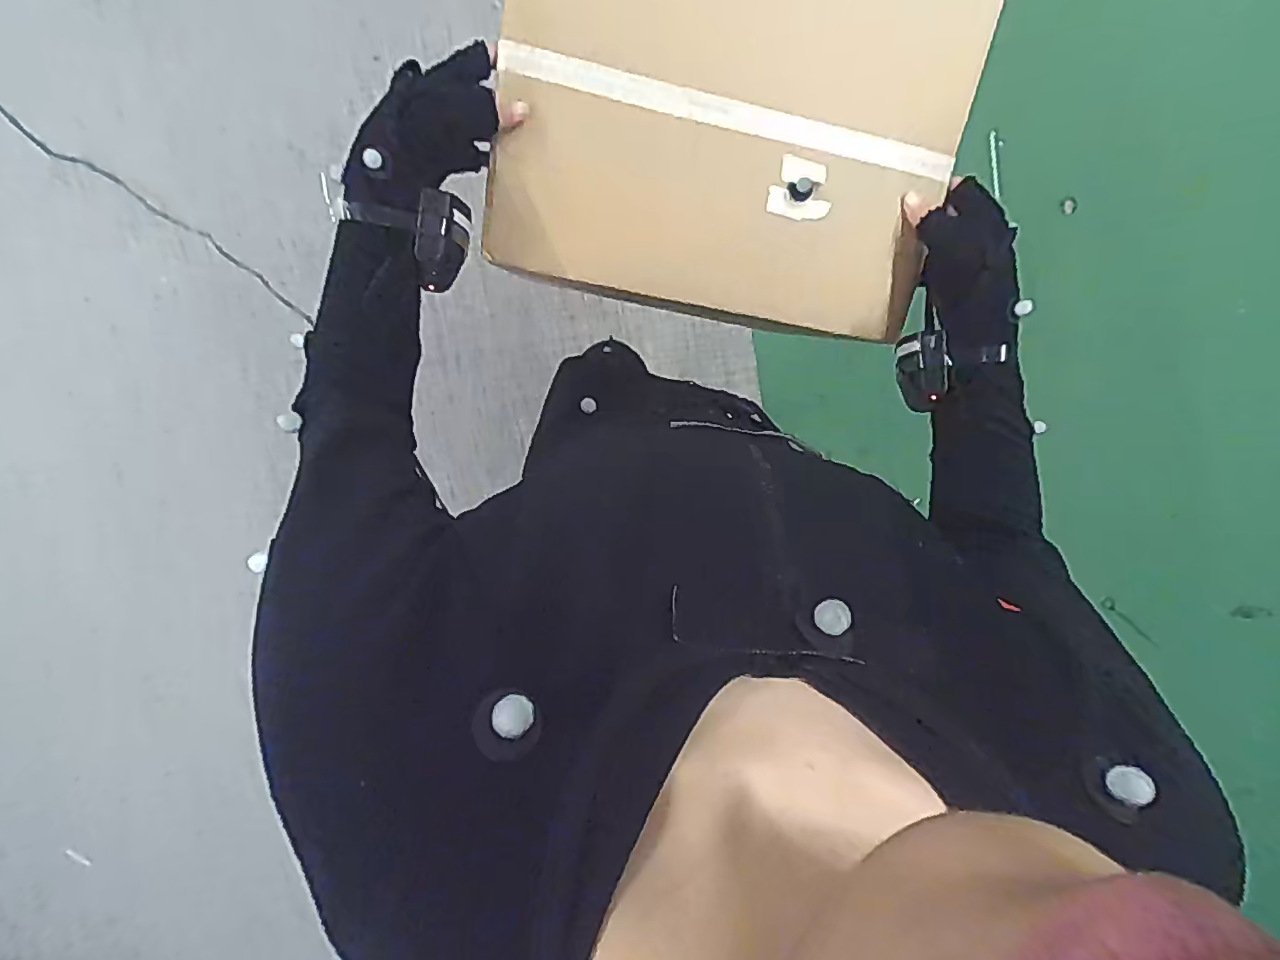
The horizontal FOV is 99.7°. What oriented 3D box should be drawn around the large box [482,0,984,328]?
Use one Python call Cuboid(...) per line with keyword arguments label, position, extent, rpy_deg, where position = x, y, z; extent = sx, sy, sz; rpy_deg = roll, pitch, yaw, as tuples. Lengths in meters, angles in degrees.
Cuboid(label="large box", position=(0.061, -0.359, 0.603), extent=(0.408, 0.320, 0.320), rpy_deg=(8, 106, -9))
